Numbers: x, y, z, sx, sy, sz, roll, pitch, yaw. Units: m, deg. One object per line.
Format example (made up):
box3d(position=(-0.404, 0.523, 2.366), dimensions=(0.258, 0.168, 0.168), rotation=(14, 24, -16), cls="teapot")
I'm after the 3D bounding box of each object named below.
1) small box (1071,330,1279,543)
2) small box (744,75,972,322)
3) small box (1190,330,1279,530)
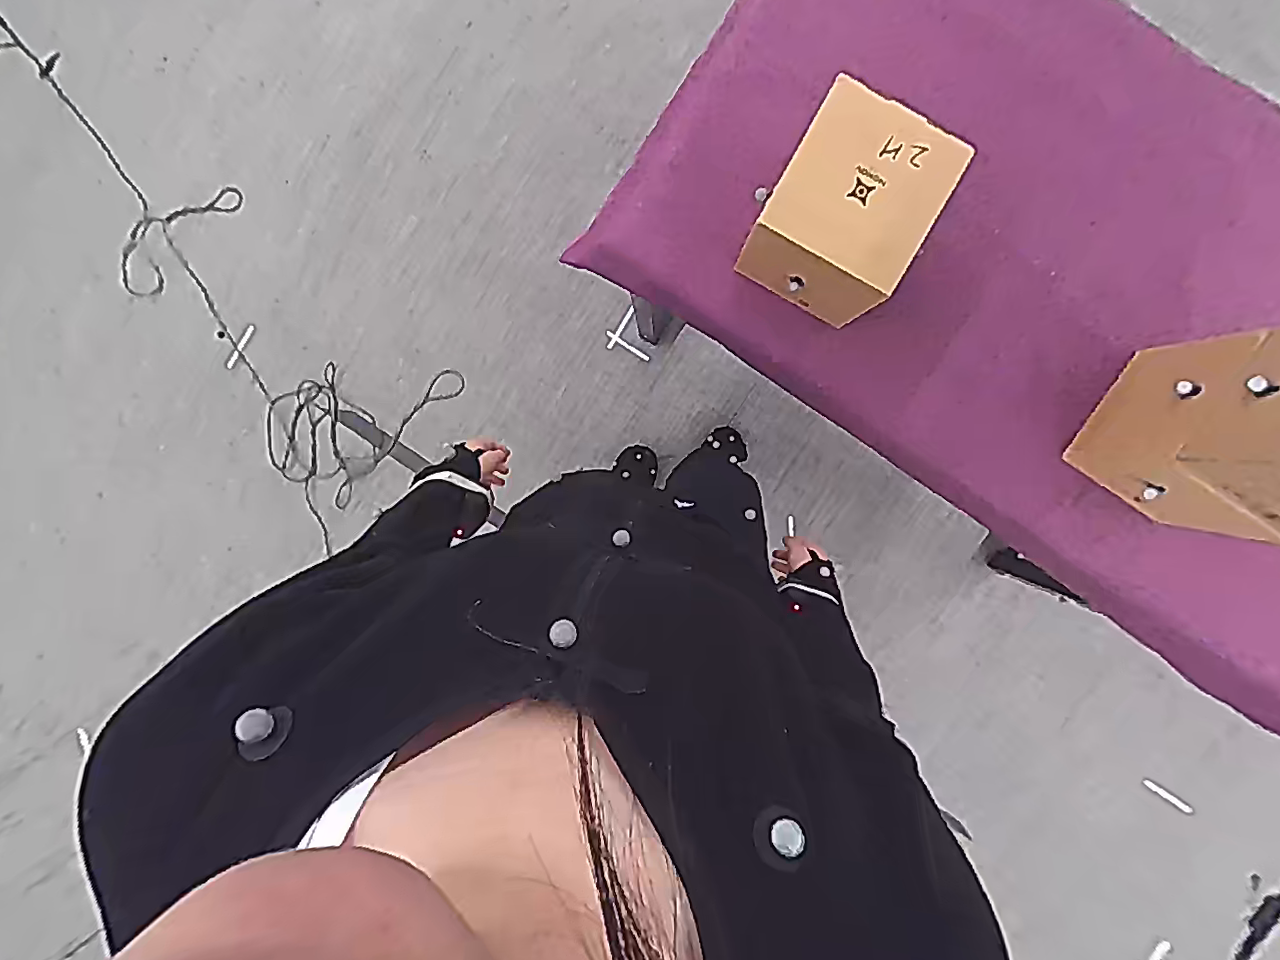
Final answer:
box3d(position=(0.686, -0.050, 0.660), dimensions=(0.168, 0.176, 0.179), rotation=(34, 94, 0), cls="small box")
box3d(position=(0.240, -0.315, 0.650), dimensions=(0.168, 0.176, 0.179), rotation=(30, 94, -1), cls="small box")
box3d(position=(0.684, -0.041, 0.496), dimensions=(0.168, 0.176, 0.179), rotation=(35, 95, -1), cls="small box")
